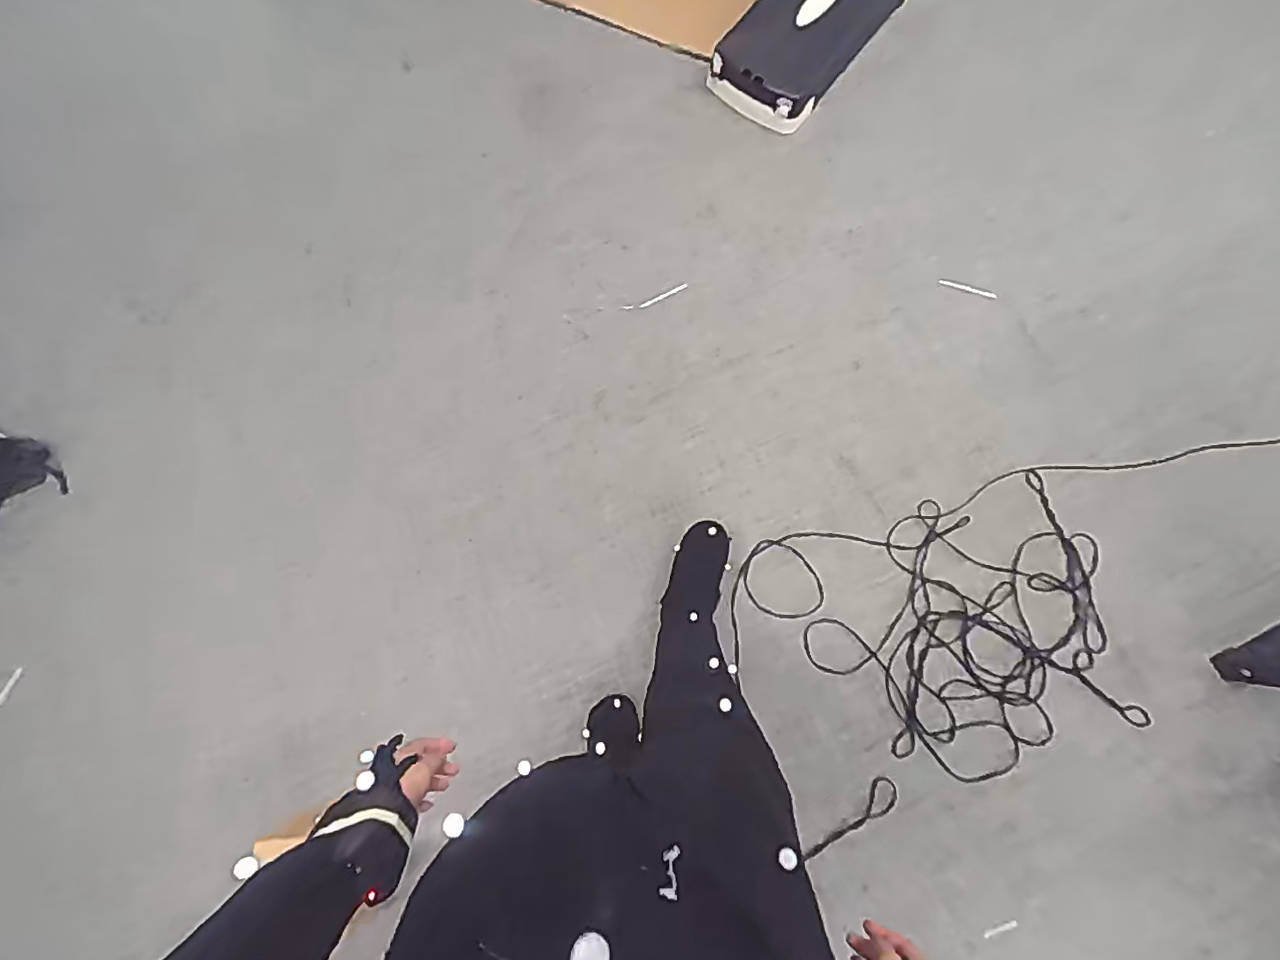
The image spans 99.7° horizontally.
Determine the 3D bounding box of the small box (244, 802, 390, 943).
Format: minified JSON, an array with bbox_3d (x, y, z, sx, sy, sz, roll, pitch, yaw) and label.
[{"bbox_3d":[-0.606,0.738,1.035,0.179,0.176,0.168,-5,78,0],"label":"small box"}]
